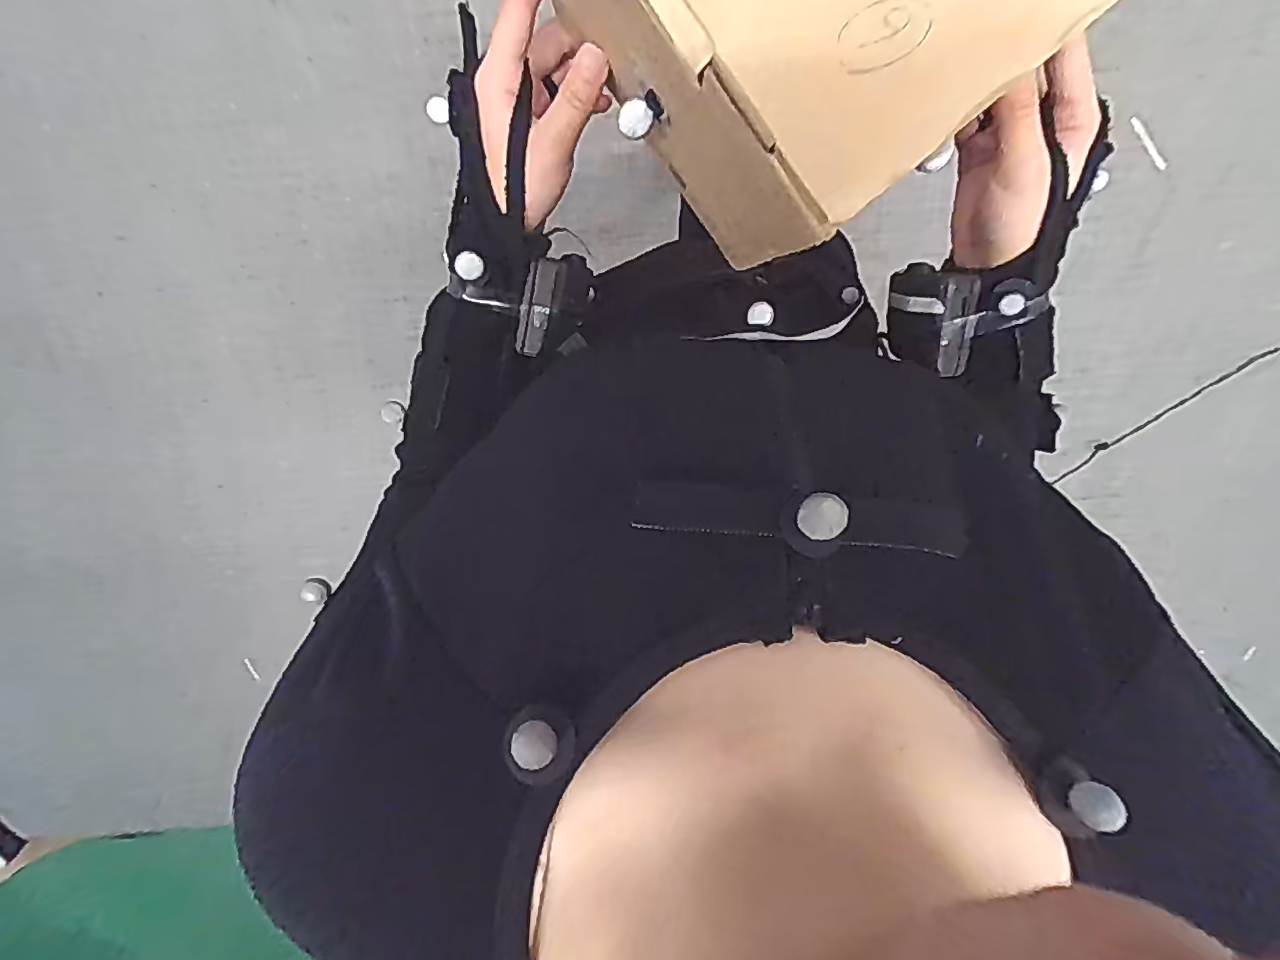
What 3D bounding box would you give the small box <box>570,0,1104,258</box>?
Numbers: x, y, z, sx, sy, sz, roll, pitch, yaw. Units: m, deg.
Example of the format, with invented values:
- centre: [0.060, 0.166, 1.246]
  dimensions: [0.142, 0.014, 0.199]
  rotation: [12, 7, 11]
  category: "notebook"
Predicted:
- centre: [0.072, -0.209, 0.206]
  dimensions: [0.179, 0.176, 0.168]
  rotation: [-37, 103, 12]
  category: "small box"
